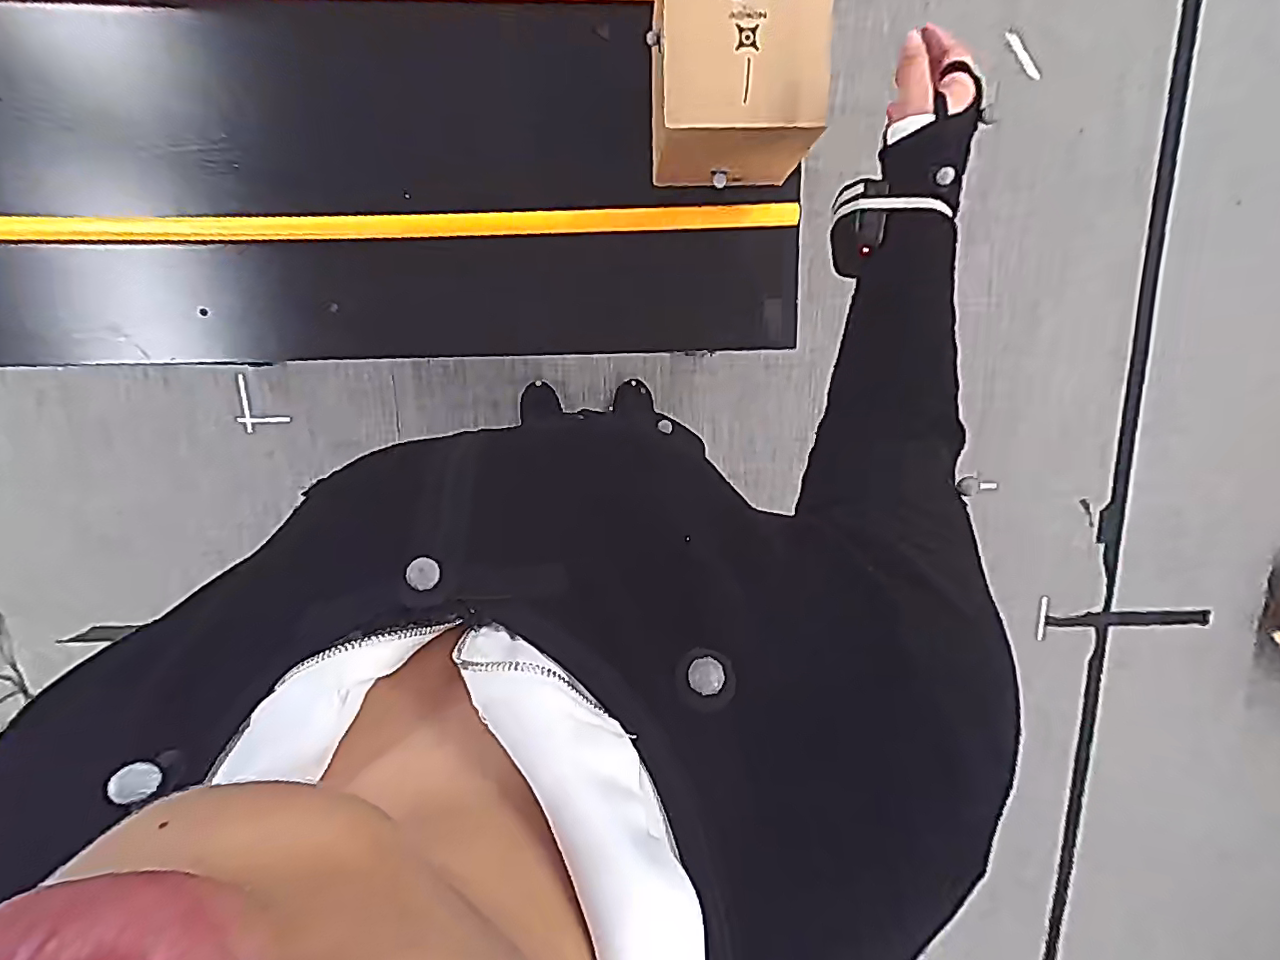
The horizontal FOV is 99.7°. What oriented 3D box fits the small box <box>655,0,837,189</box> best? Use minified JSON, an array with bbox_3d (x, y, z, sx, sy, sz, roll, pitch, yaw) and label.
[{"bbox_3d":[0.104,-0.447,0.600,0.168,0.176,0.179,-1,101,-2],"label":"small box"}]
